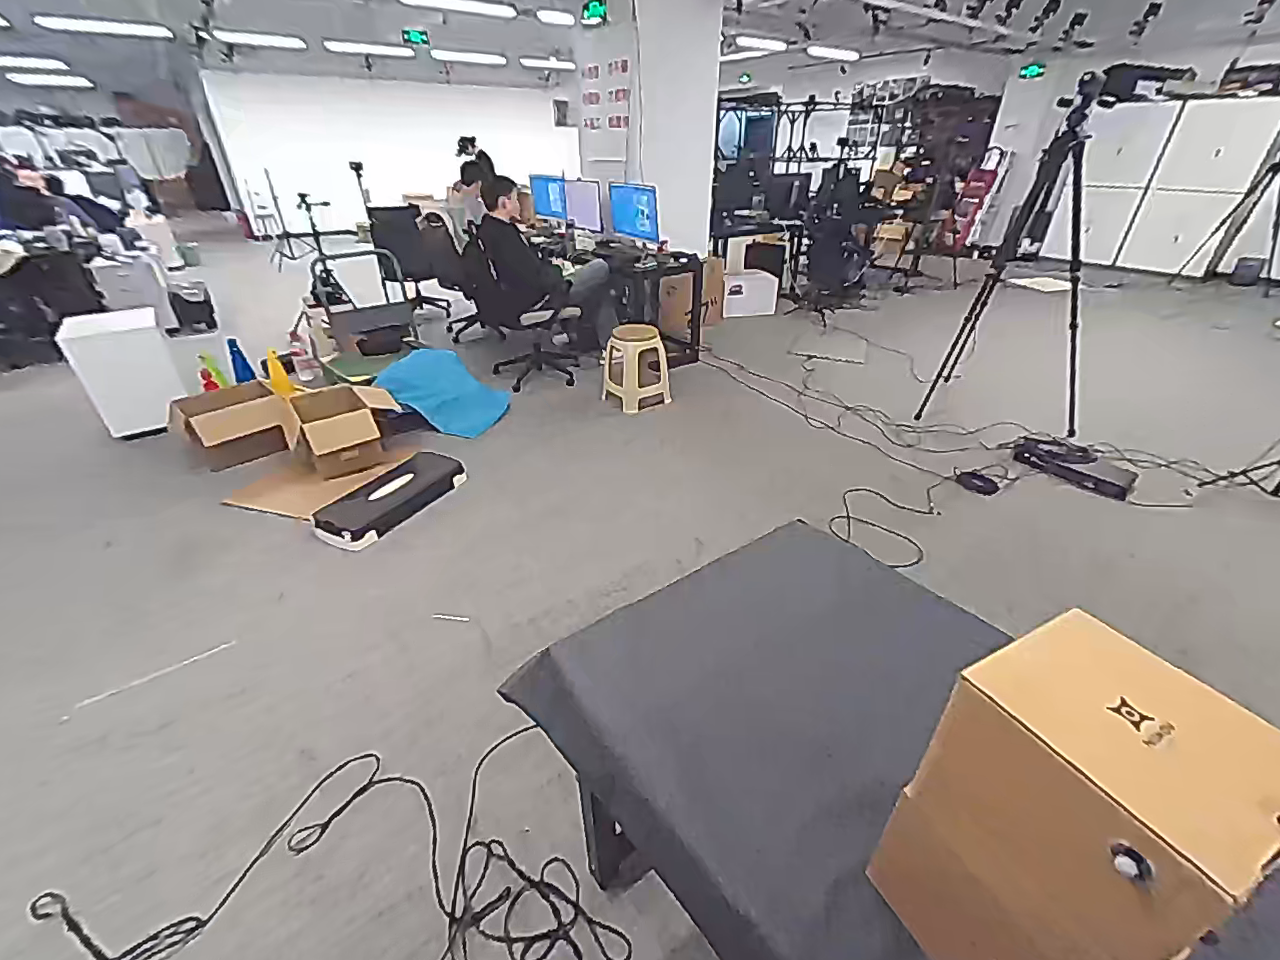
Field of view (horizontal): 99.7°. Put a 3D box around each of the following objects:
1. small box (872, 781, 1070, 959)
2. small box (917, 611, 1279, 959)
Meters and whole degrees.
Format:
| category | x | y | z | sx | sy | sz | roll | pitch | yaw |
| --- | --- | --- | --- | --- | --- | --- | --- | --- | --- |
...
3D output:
| category | x | y | z | sx | sy | sz | roll | pitch | yaw |
| --- | --- | --- | --- | --- | --- | --- | --- | --- | --- |
| small box | 0.360 | 0.384 | 0.520 | 0.168 | 0.176 | 0.179 | -14 | 33 | -24 |
| small box | 0.364 | 0.244 | 0.437 | 0.168 | 0.176 | 0.179 | -14 | 35 | -23 |
